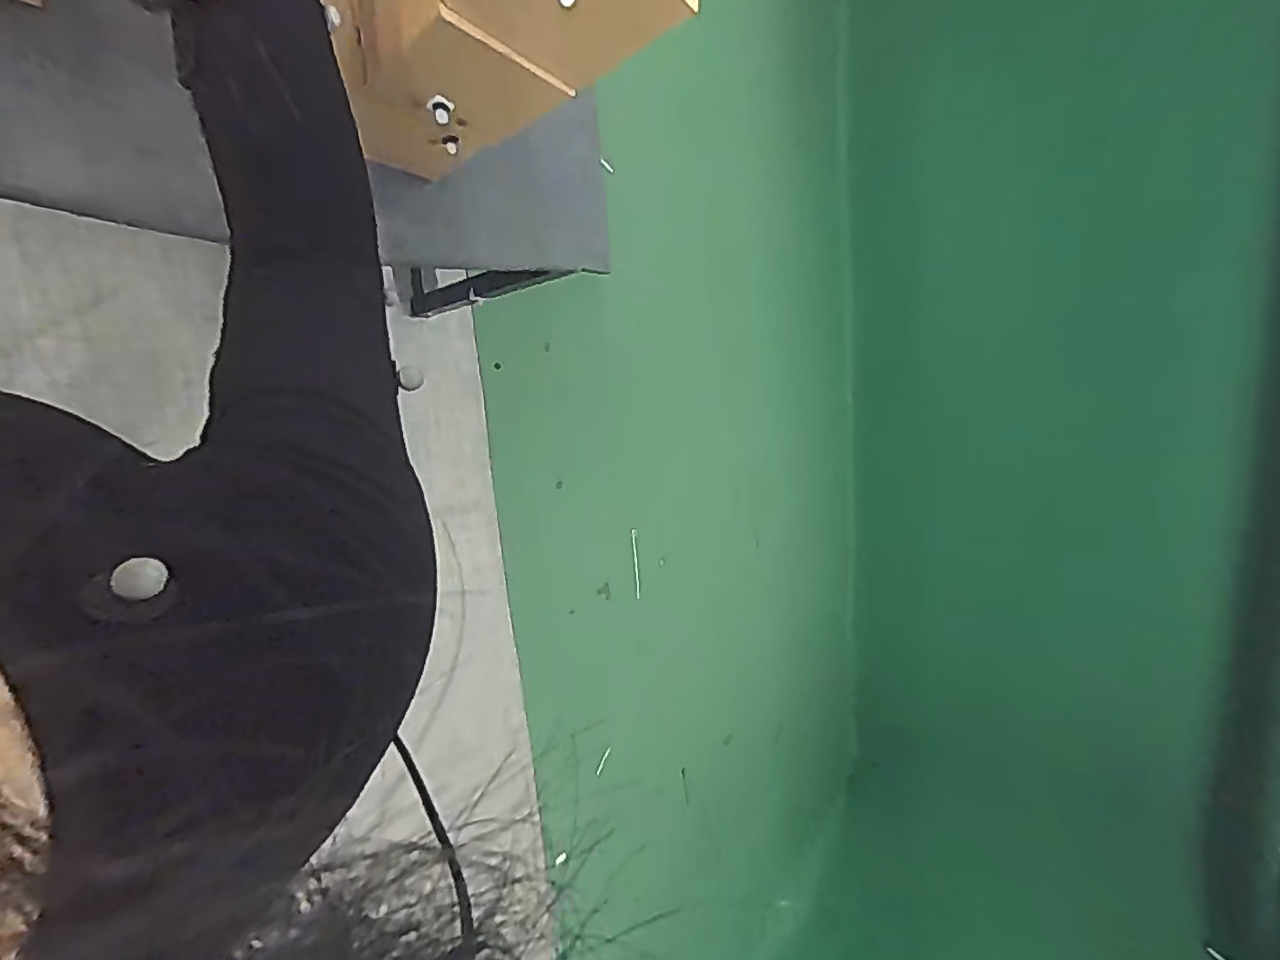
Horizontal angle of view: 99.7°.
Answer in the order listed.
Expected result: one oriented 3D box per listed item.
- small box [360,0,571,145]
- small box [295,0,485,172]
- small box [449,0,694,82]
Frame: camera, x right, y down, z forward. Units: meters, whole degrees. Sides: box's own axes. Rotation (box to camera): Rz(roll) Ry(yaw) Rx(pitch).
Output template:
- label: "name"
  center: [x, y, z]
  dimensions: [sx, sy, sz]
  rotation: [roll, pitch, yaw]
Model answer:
- label: "small box"
  center: [-0.193, -0.513, 0.593]
  dimensions: [0.168, 0.176, 0.179]
  rotation: [-5, 98, -47]
- label: "small box"
  center: [-0.315, -0.527, 0.699]
  dimensions: [0.179, 0.176, 0.168]
  rotation: [-8, 98, -49]
- label: "small box"
  center: [-0.069, -0.509, 0.486]
  dimensions: [0.179, 0.176, 0.168]
  rotation: [-2, 94, -48]
